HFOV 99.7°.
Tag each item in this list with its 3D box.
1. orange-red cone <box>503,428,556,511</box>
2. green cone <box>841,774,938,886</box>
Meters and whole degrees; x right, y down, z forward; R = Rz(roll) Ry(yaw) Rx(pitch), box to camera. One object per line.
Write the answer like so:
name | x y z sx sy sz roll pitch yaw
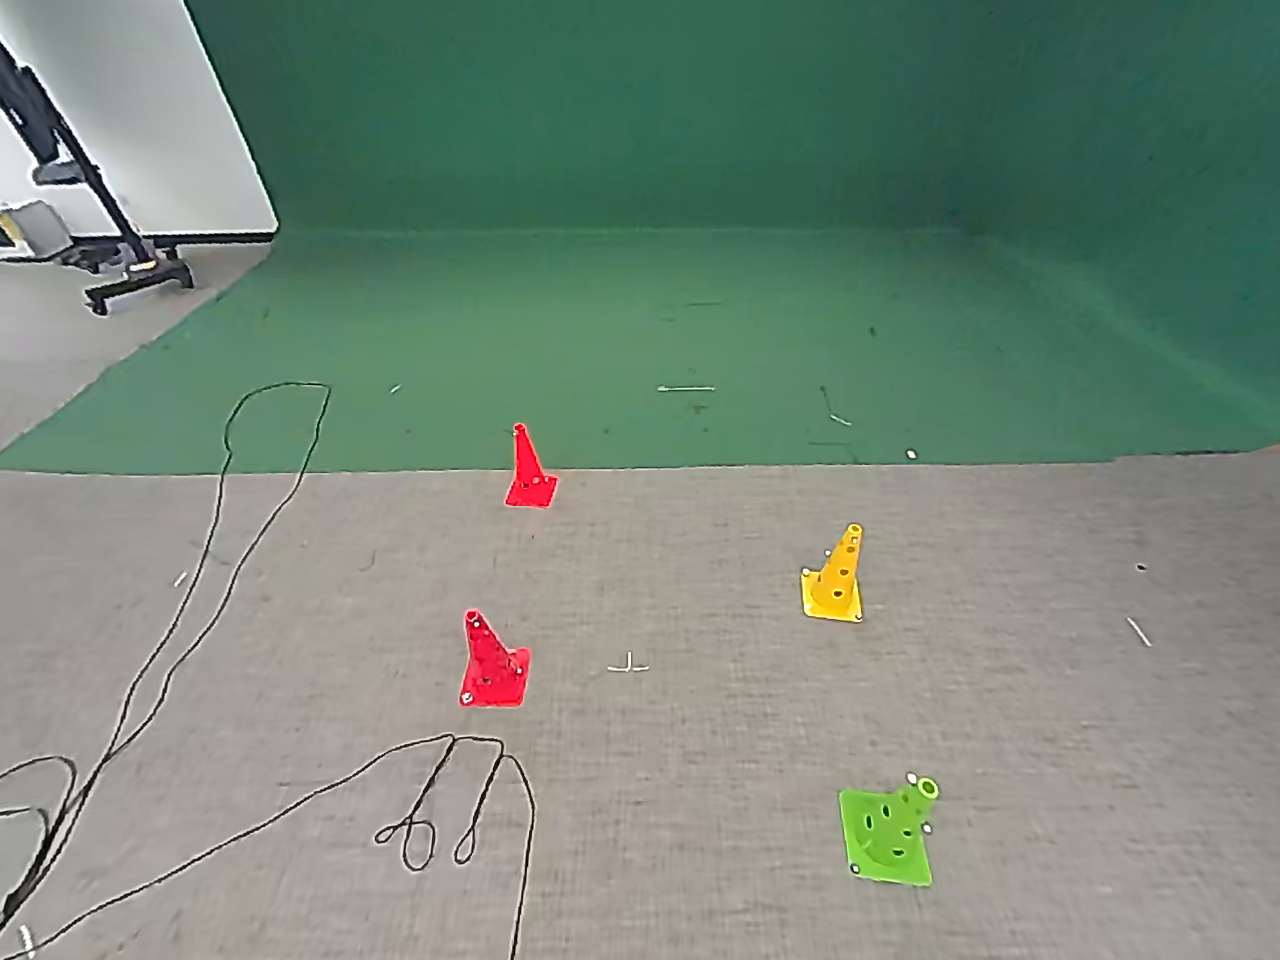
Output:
orange-red cone | -0.490 -0.064 2.268 0.199 0.360 0.198 3 42 7
green cone | 0.637 0.801 1.294 0.200 0.368 0.202 3 41 4
